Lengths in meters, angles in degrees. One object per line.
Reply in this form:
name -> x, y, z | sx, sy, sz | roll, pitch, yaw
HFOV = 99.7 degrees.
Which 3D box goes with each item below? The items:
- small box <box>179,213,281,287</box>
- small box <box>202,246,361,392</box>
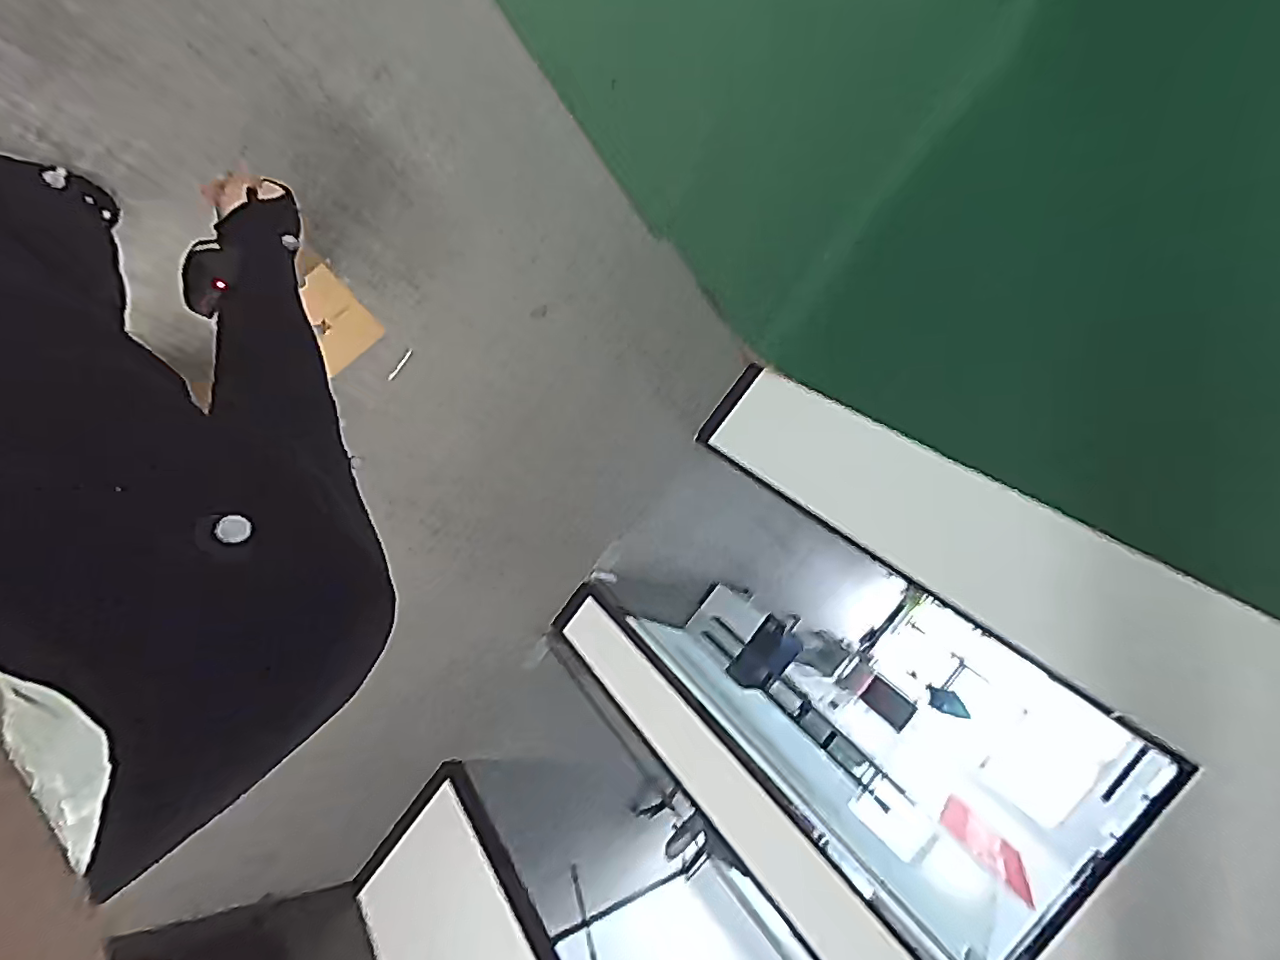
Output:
small box -> -0.871, -0.470, 1.200 | 0.168, 0.176, 0.179 | -38, 142, -16
small box -> -0.667, -0.302, 1.005 | 0.179, 0.176, 0.168 | -43, 144, -12
